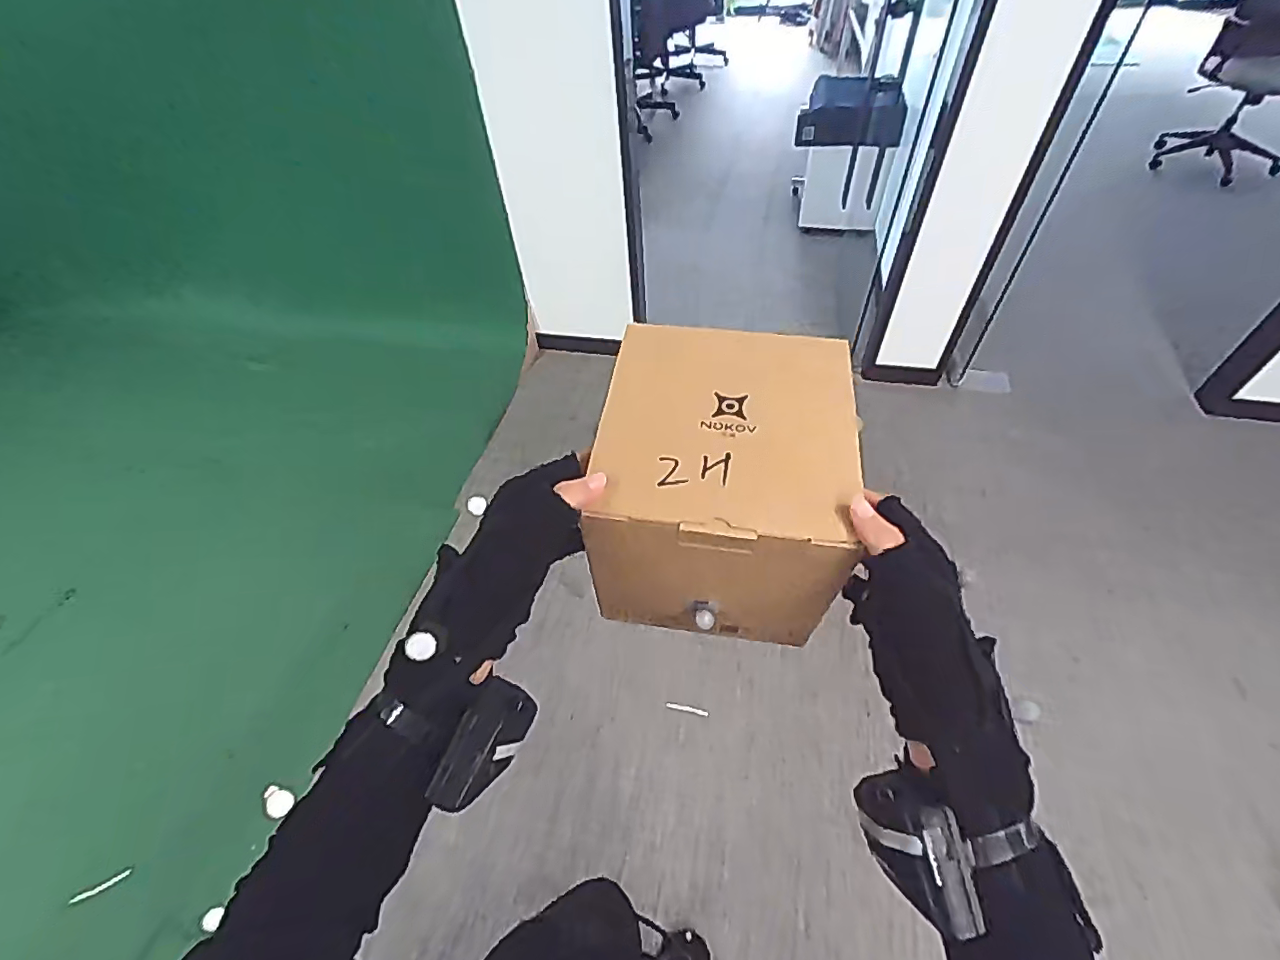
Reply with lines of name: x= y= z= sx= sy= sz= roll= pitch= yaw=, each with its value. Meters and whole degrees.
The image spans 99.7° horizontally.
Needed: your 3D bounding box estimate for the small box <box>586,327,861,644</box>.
small box: x=0.062 y=0.007 z=0.429 sx=0.168 sy=0.176 sz=0.179 roll=7 pitch=54 yaw=7
